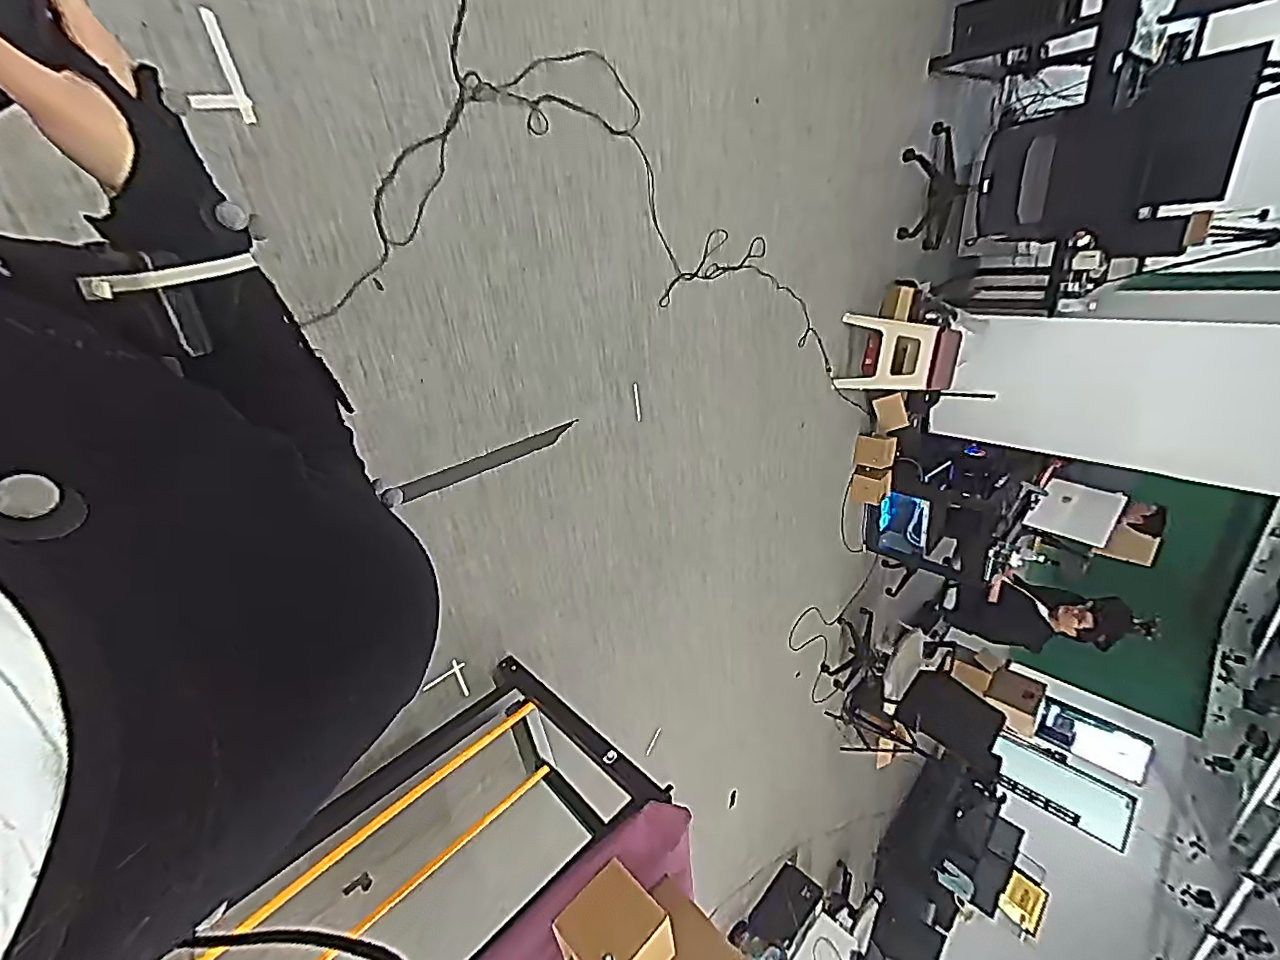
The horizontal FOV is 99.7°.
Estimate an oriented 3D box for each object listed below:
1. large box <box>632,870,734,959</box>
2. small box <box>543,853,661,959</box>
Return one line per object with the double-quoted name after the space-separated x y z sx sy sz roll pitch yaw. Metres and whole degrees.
0.042 1.253 1.271 0.320 0.320 0.408 -27 120 -35 "large box"
-0.078 0.945 1.138 0.179 0.176 0.168 -28 125 -35 "small box"
